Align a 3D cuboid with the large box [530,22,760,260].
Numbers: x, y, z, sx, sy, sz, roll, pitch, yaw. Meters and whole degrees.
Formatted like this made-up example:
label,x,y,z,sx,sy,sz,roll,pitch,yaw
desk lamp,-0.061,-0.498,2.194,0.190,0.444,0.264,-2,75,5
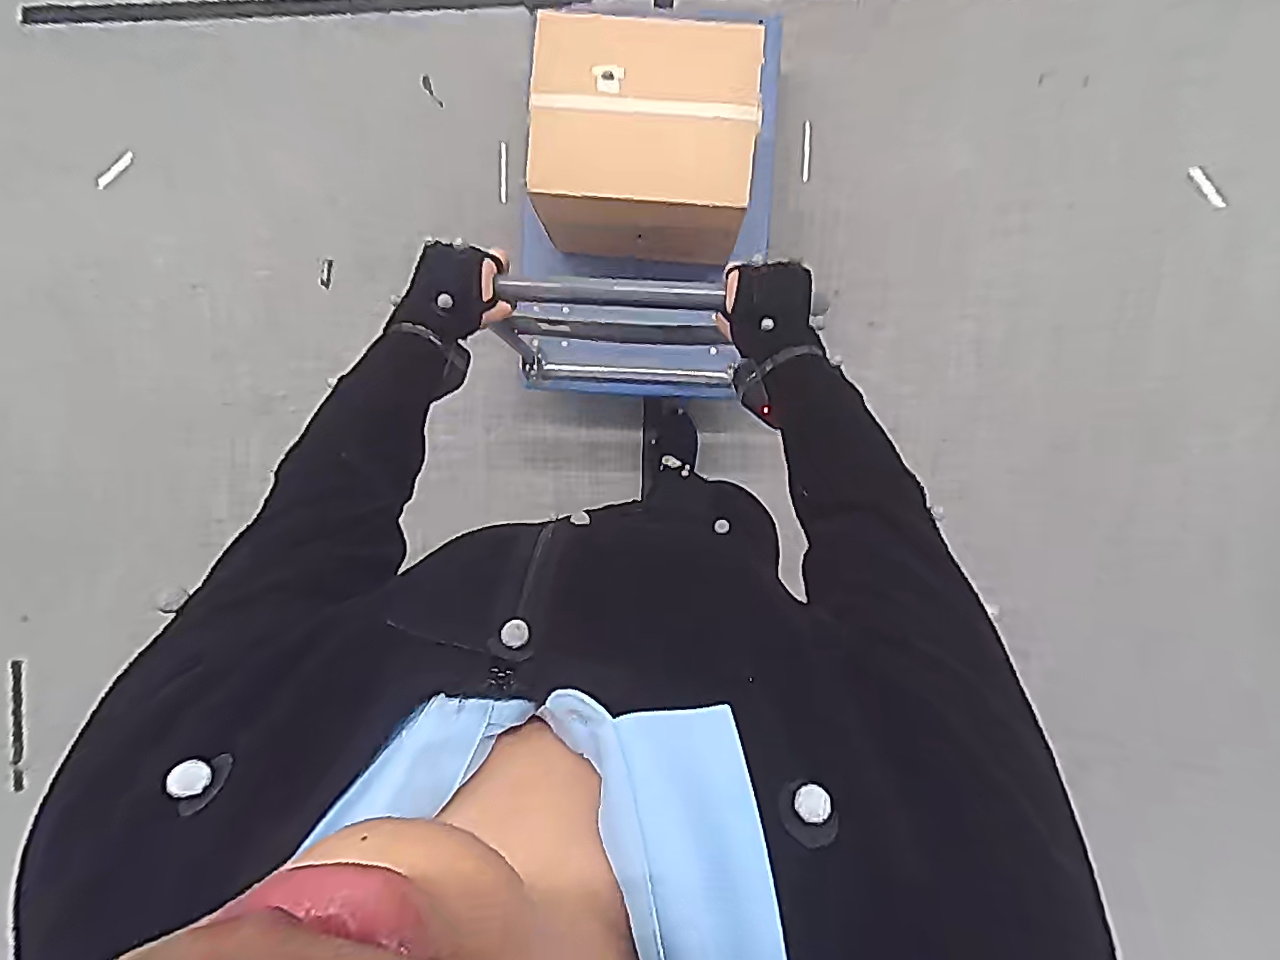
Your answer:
label,x,y,z,sx,sy,sz,roll,pitch,yaw
large box,0.015,-0.669,1.121,0.408,0.320,0.320,5,92,2
